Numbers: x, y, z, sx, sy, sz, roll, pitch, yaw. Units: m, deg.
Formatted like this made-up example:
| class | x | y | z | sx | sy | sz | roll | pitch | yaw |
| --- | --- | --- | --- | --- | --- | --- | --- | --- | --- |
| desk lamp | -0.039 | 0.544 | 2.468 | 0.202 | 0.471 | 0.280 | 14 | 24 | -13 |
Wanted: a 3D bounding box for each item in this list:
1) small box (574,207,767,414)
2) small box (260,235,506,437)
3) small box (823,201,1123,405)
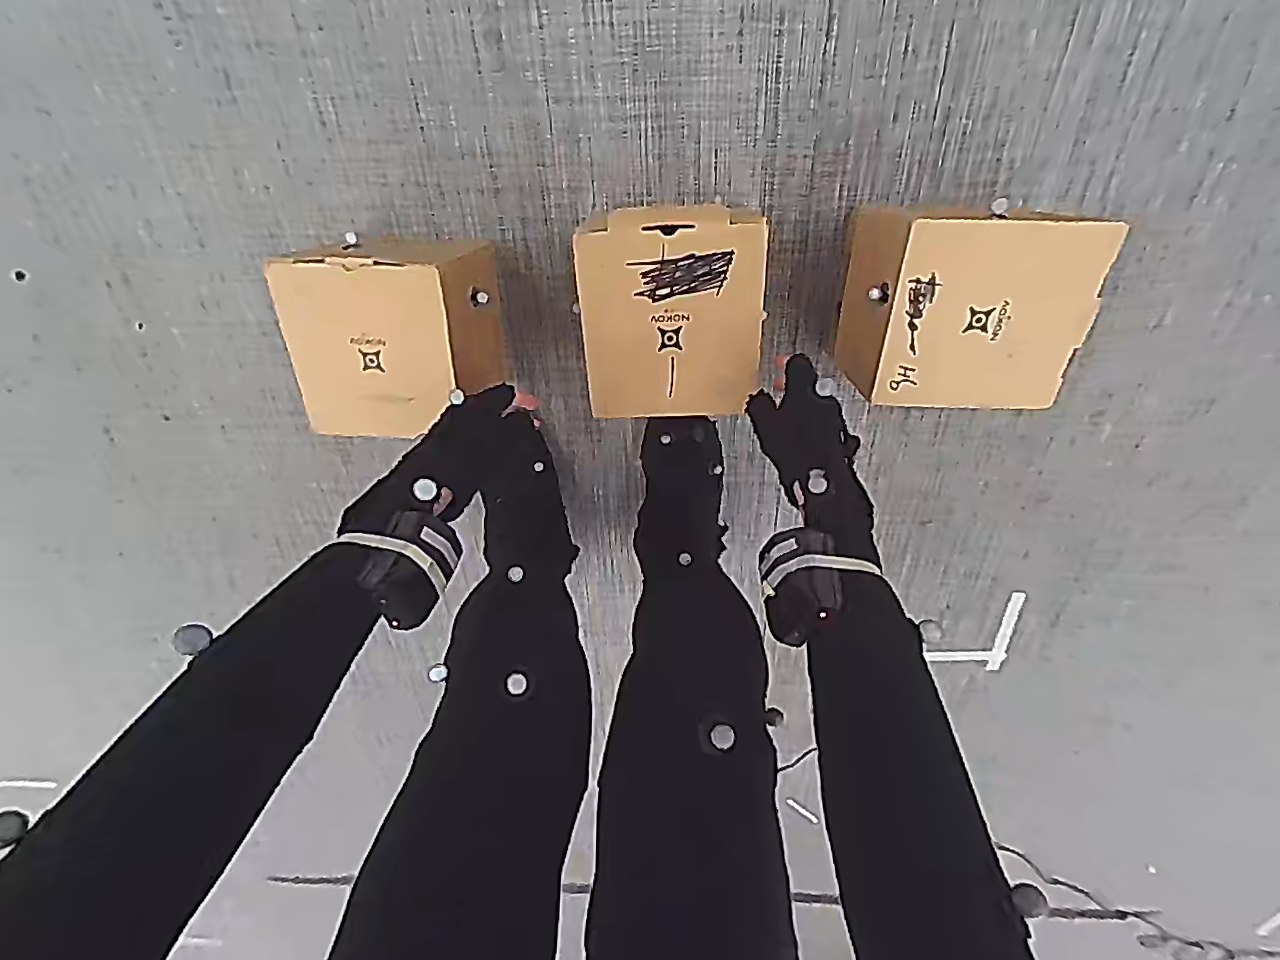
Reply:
| class | x | y | z | sx | sy | sz | roll | pitch | yaw |
| --- | --- | --- | --- | --- | --- | --- | --- | --- | --- |
| small box | 0.030 | -0.182 | 0.561 | 0.168 | 0.176 | 0.179 | -1 | 121 | 4 |
| small box | -0.255 | -0.164 | 0.589 | 0.168 | 0.176 | 0.179 | 3 | 121 | 4 |
| small box | 0.307 | -0.185 | 0.547 | 0.179 | 0.176 | 0.168 | 1 | 121 | 1 |
